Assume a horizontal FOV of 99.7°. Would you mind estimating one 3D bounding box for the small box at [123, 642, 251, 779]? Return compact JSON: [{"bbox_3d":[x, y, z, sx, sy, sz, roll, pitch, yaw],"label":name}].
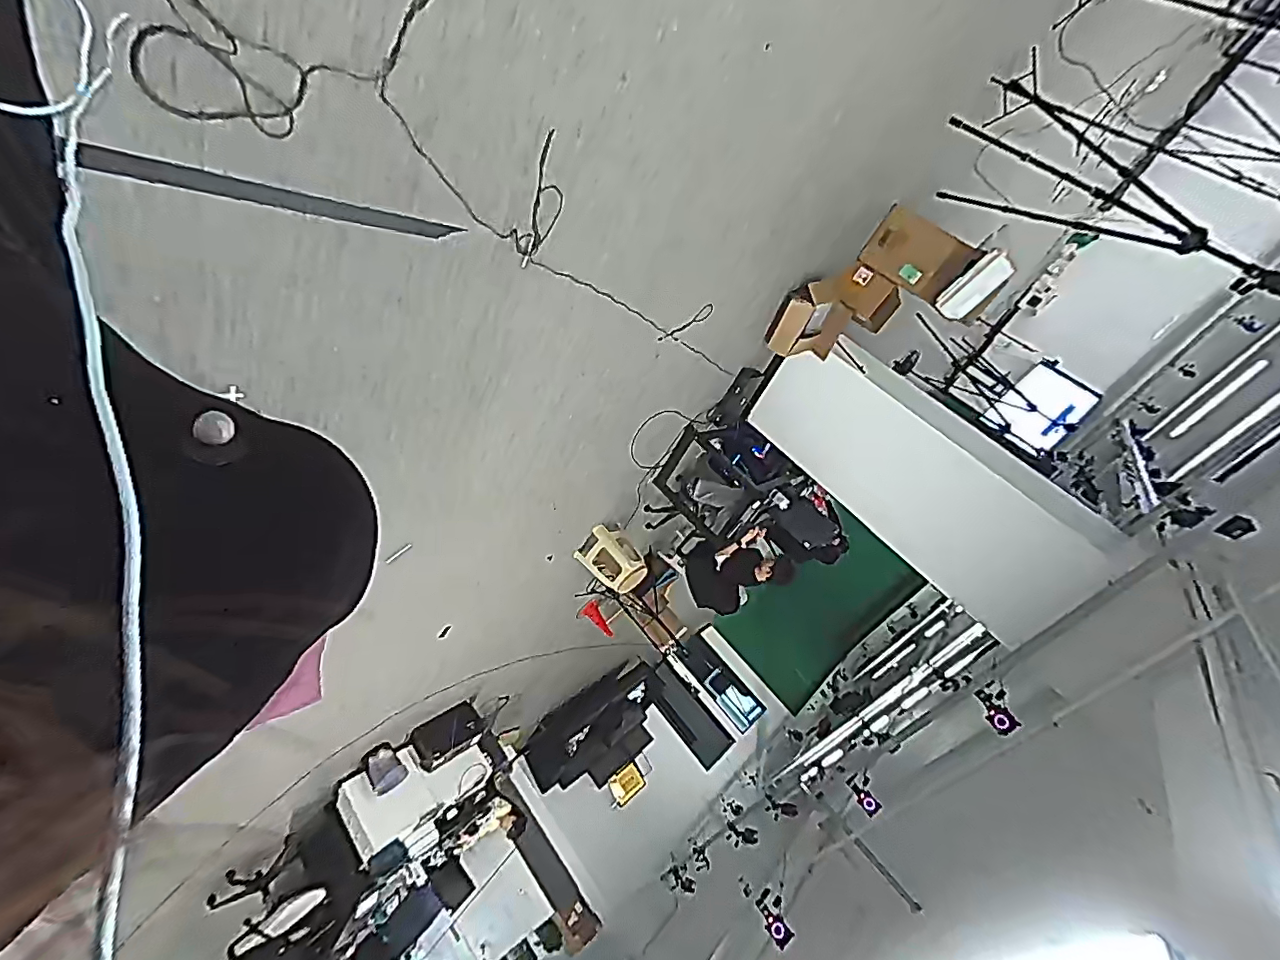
[{"bbox_3d":[-0.960,0.477,1.142,0.179,0.176,0.168,-13,143,-51],"label":"small box"}]
